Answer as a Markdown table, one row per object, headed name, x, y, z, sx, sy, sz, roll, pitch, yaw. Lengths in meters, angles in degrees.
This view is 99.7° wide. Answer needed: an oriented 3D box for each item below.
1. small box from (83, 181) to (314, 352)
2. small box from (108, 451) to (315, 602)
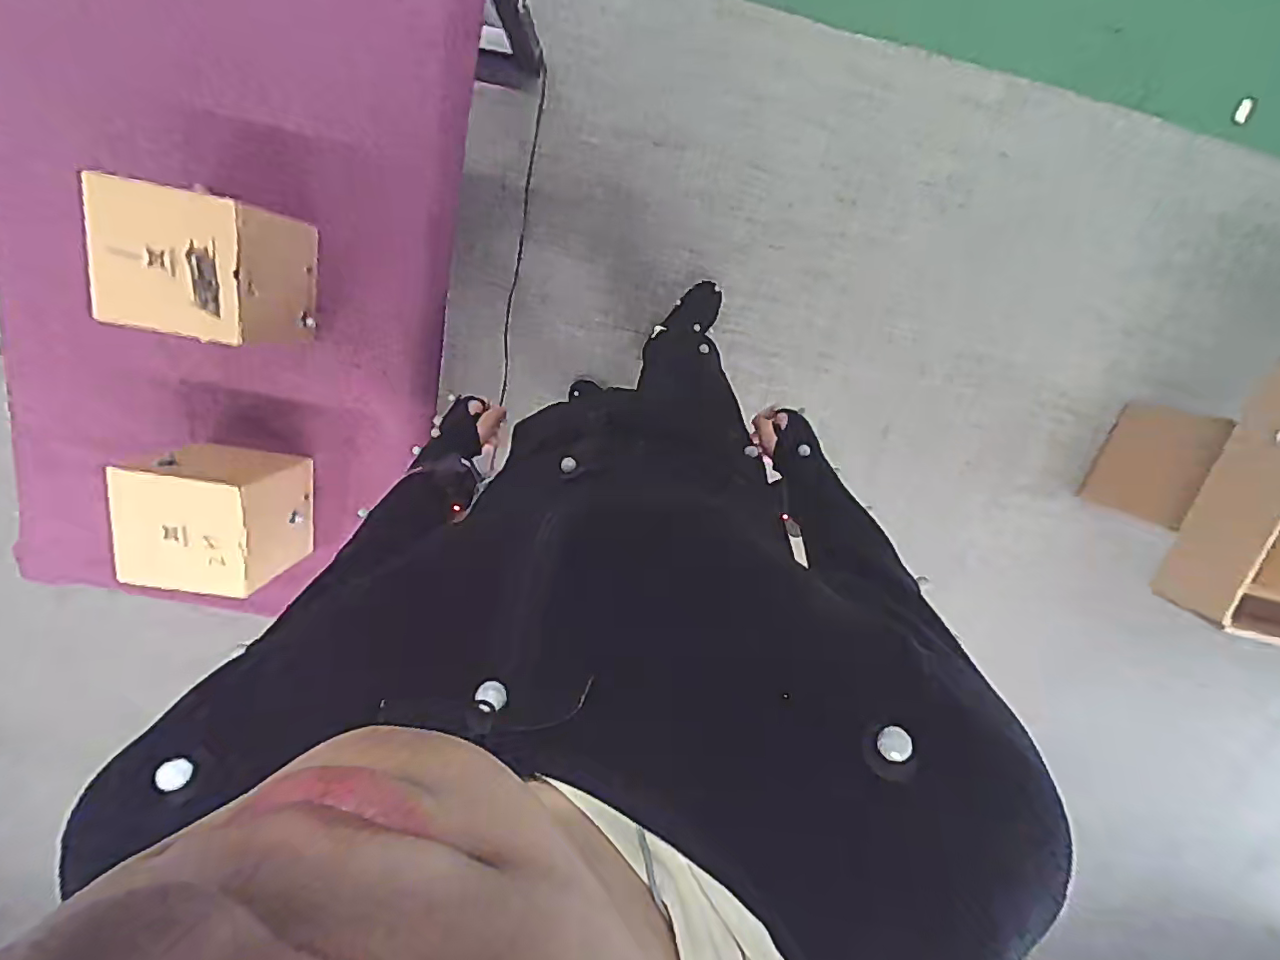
| name | x | y | z | sx | sy | sz | roll | pitch | yaw |
| --- | --- | --- | --- | --- | --- | --- | --- | --- | --- |
| small box | -0.563 | -0.271 | 0.717 | 0.179 | 0.176 | 0.168 | 10 | 105 | -3 |
| small box | -0.621 | 0.059 | 0.804 | 0.179 | 0.176 | 0.168 | 8 | 105 | -4 |
